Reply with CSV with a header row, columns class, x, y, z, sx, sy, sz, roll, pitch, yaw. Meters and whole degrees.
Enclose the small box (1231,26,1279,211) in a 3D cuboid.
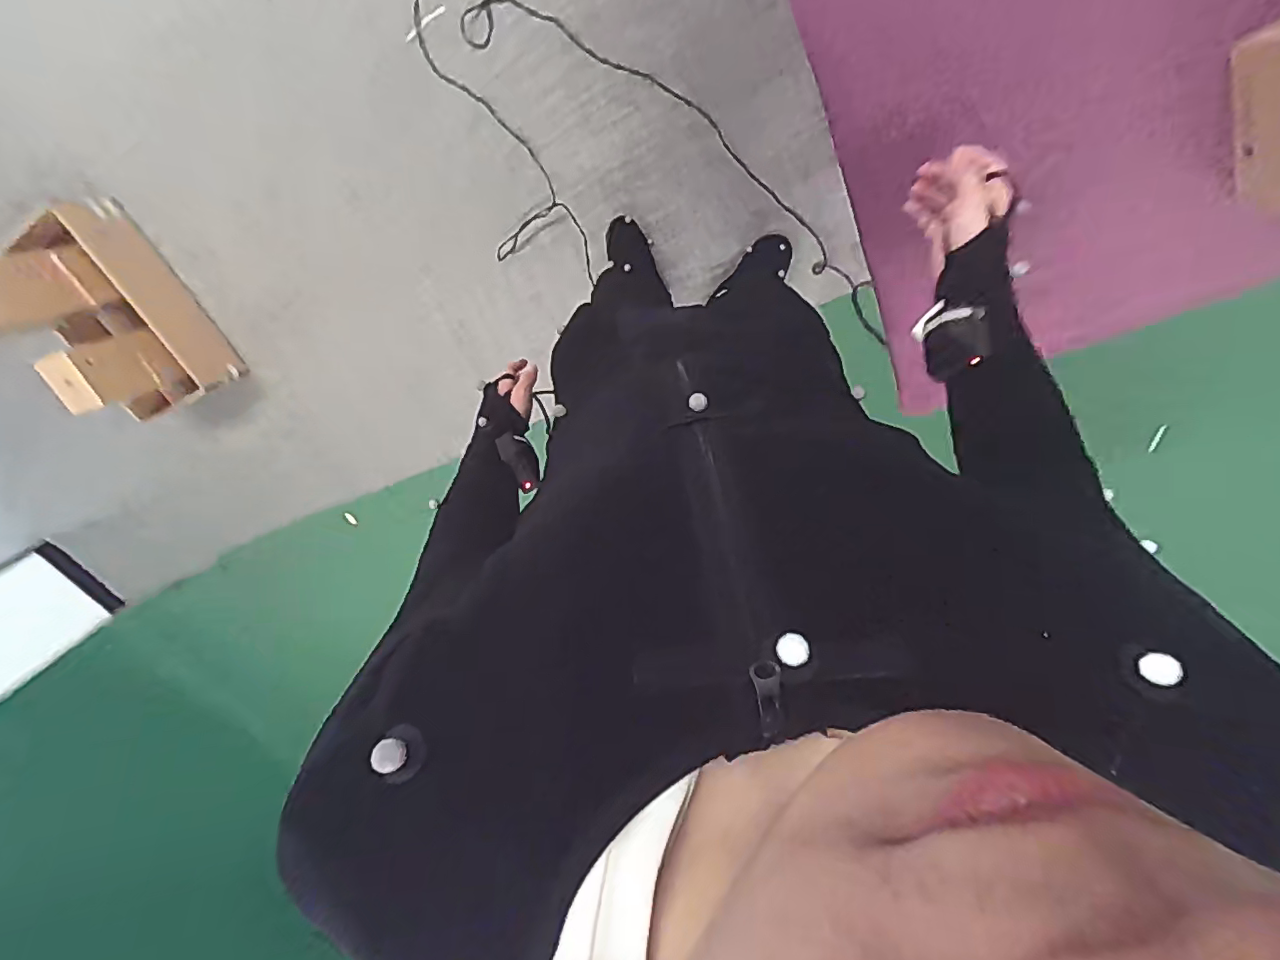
class,x,y,z,sx,sy,sz,roll,pitch,yaw
small box,0.690,-0.354,0.473,0.179,0.176,0.168,-20,114,23
